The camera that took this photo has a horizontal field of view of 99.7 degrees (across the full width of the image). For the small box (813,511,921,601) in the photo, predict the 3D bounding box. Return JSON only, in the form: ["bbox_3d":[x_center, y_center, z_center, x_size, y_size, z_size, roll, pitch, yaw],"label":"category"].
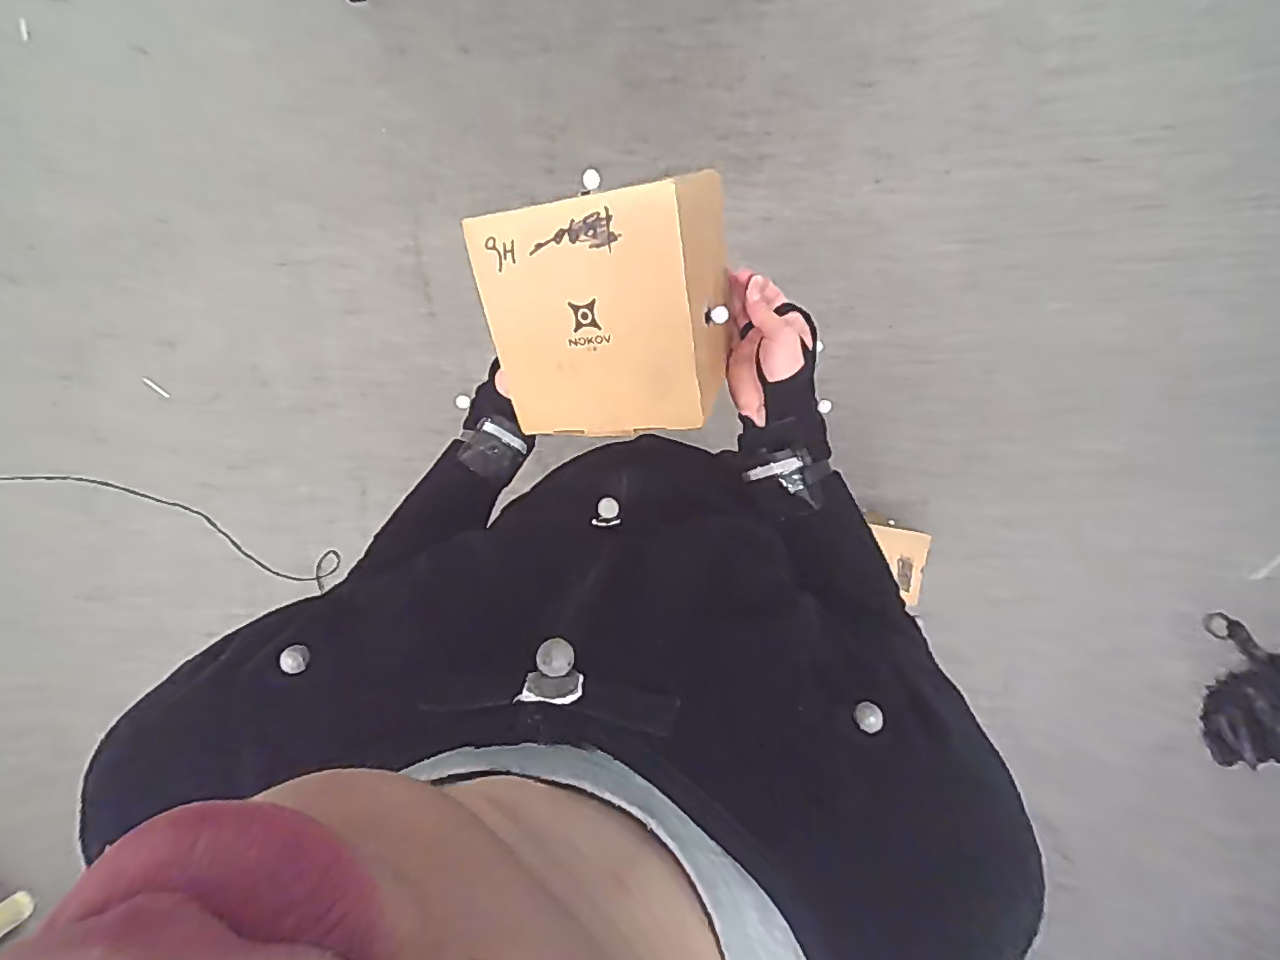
[{"bbox_3d":[0.535,0.175,1.297,0.179,0.176,0.168,10,94,4],"label":"small box"}]

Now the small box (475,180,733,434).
[{"bbox_3d":[-0.013,-0.156,0.487,0.168,0.176,0.179,0,120,18],"label":"small box"}]

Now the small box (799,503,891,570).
[{"bbox_3d":[0.547,0.160,1.461,0.179,0.176,0.168,9,94,4],"label":"small box"}]
